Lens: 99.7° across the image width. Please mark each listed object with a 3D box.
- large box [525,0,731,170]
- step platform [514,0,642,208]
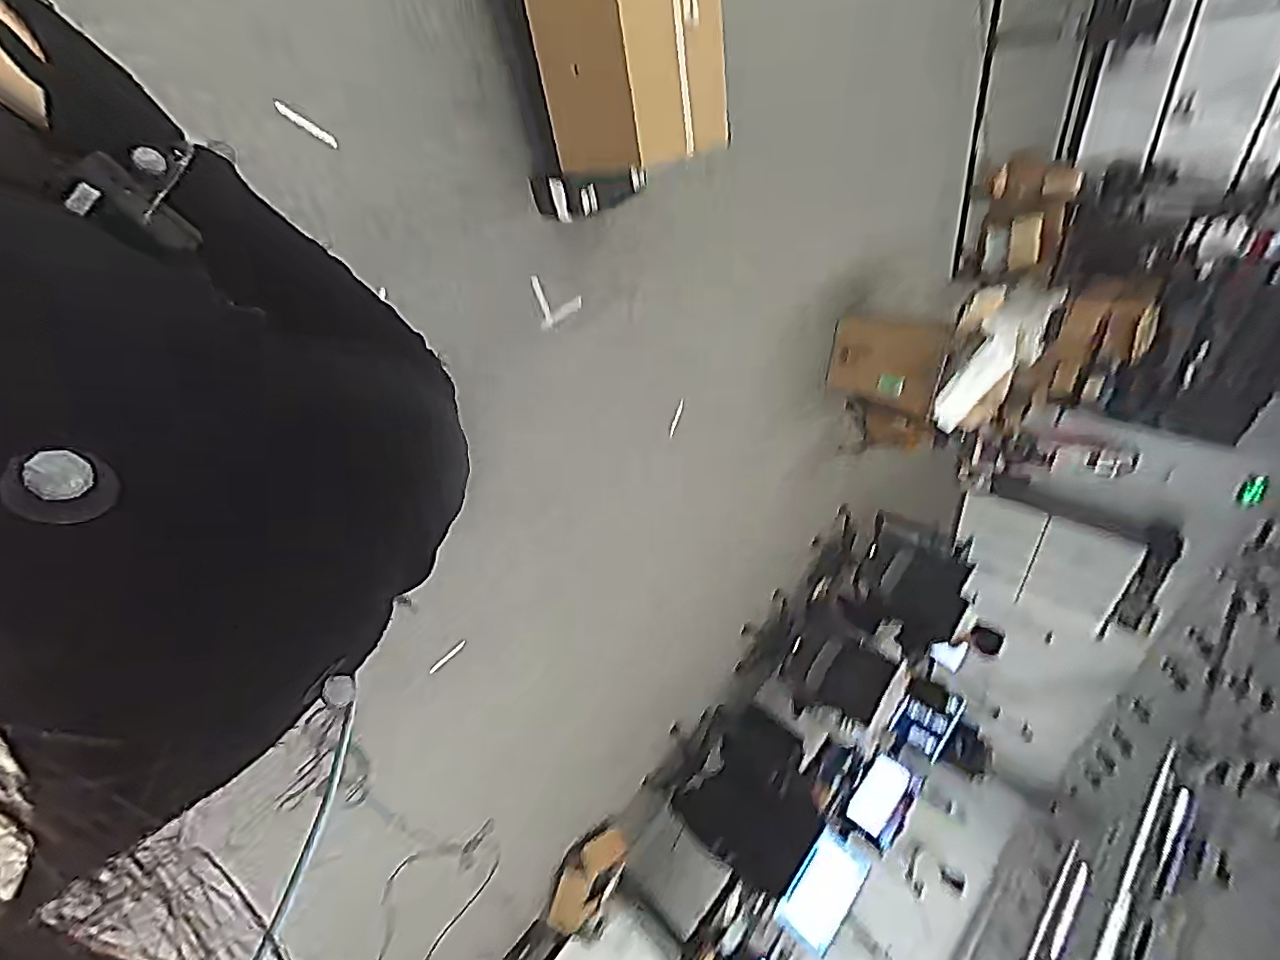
[{"bbox_3d":[-0.021,-0.982,1.246,0.320,0.320,0.408,-38,133,-28],"label":"large box"},{"bbox_3d":[-0.193,-1.082,1.381,0.286,0.204,0.684,-35,132,-29],"label":"step platform"}]
